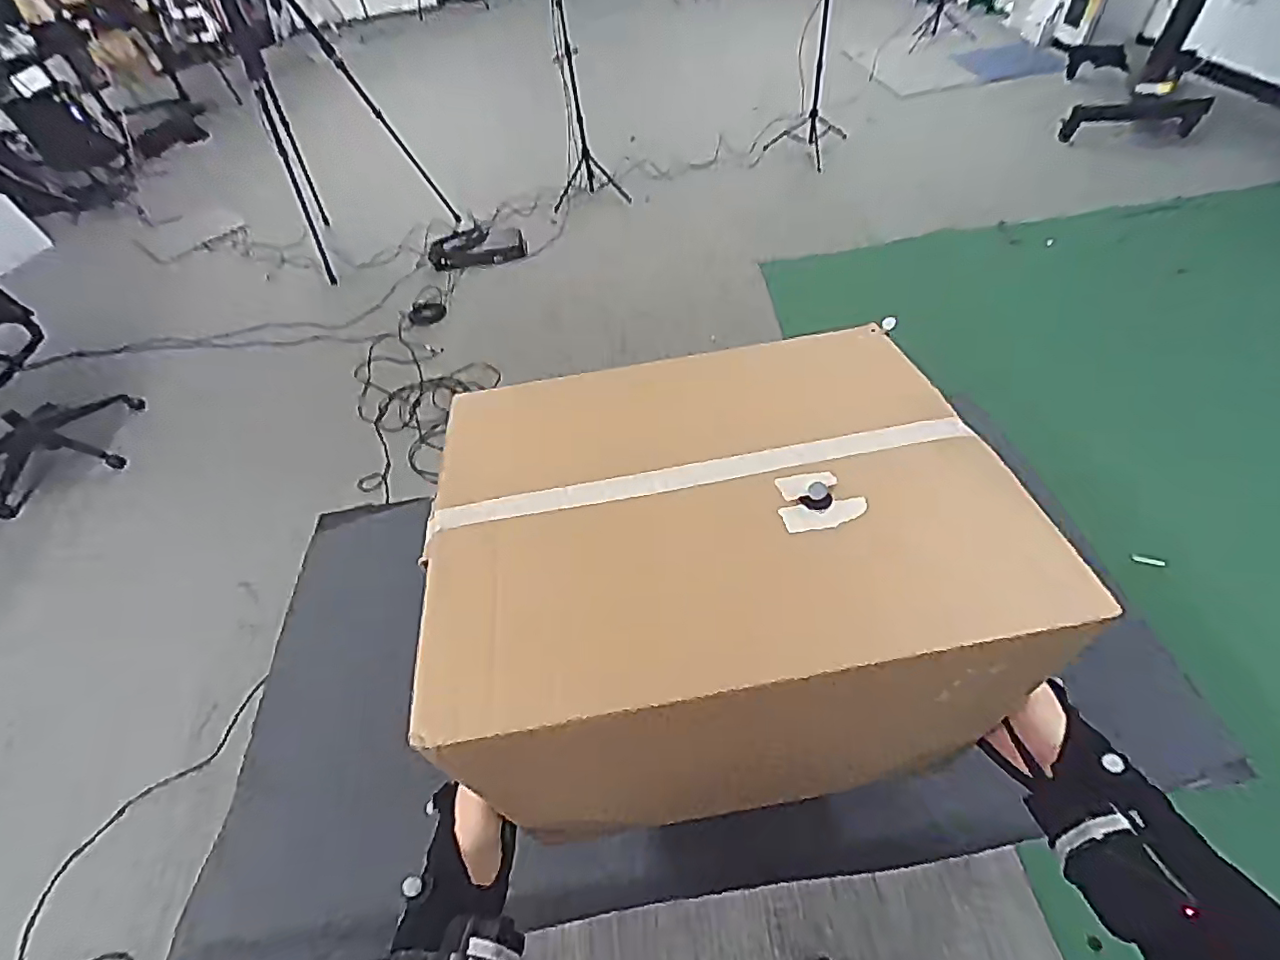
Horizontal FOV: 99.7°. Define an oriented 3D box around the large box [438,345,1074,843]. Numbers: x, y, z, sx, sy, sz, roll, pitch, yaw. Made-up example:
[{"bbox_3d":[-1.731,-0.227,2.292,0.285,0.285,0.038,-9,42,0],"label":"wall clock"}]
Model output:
[{"bbox_3d":[0.063,0.111,0.530,0.408,0.320,0.320,-10,48,-2],"label":"large box"}]
